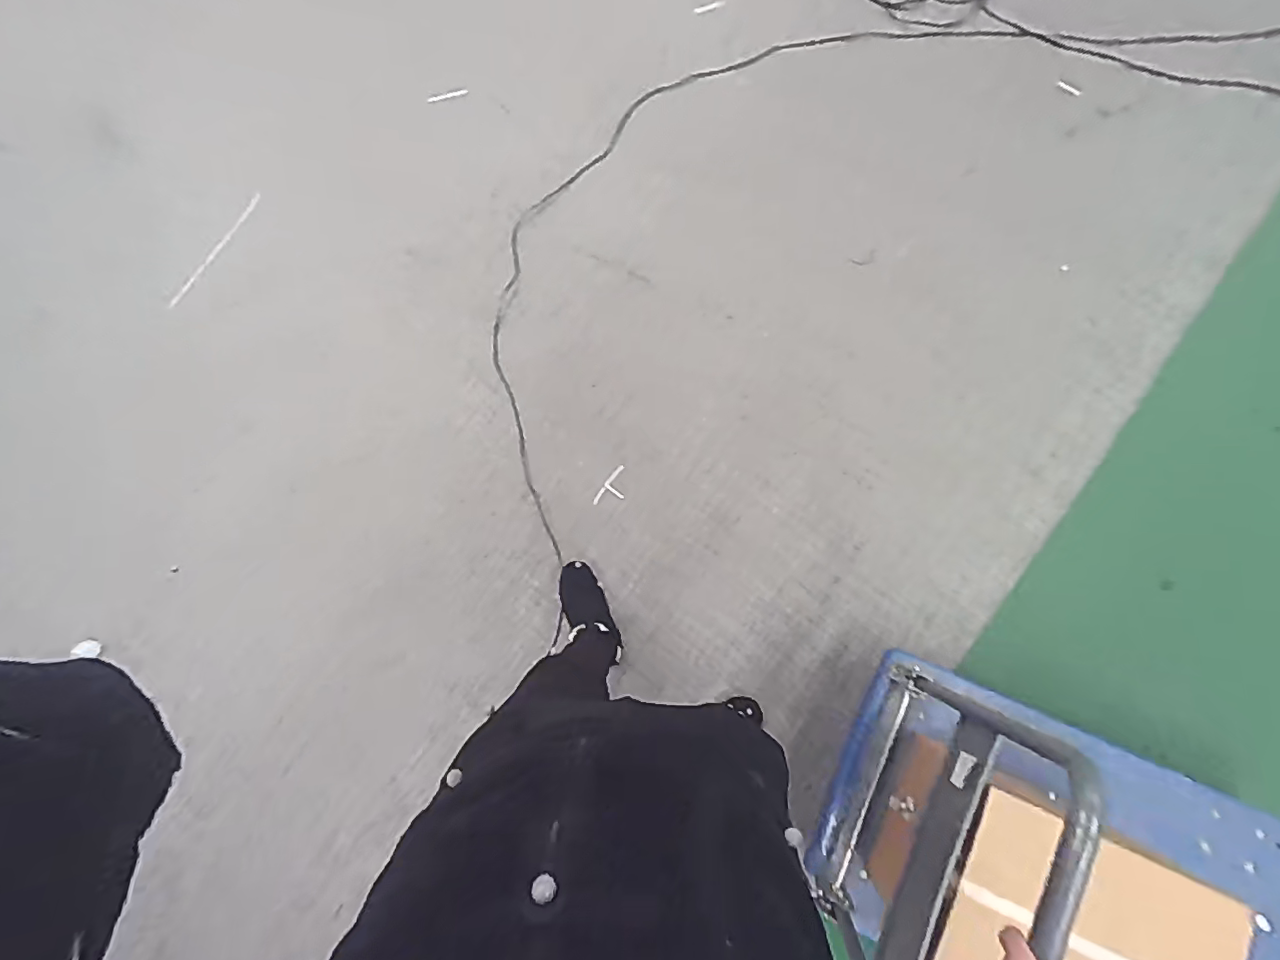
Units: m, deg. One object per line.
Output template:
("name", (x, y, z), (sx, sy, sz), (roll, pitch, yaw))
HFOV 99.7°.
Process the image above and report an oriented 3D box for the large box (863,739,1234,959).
("large box", (0.692, 0.744, 0.990), (0.408, 0.320, 0.320), (23, 83, 9))
